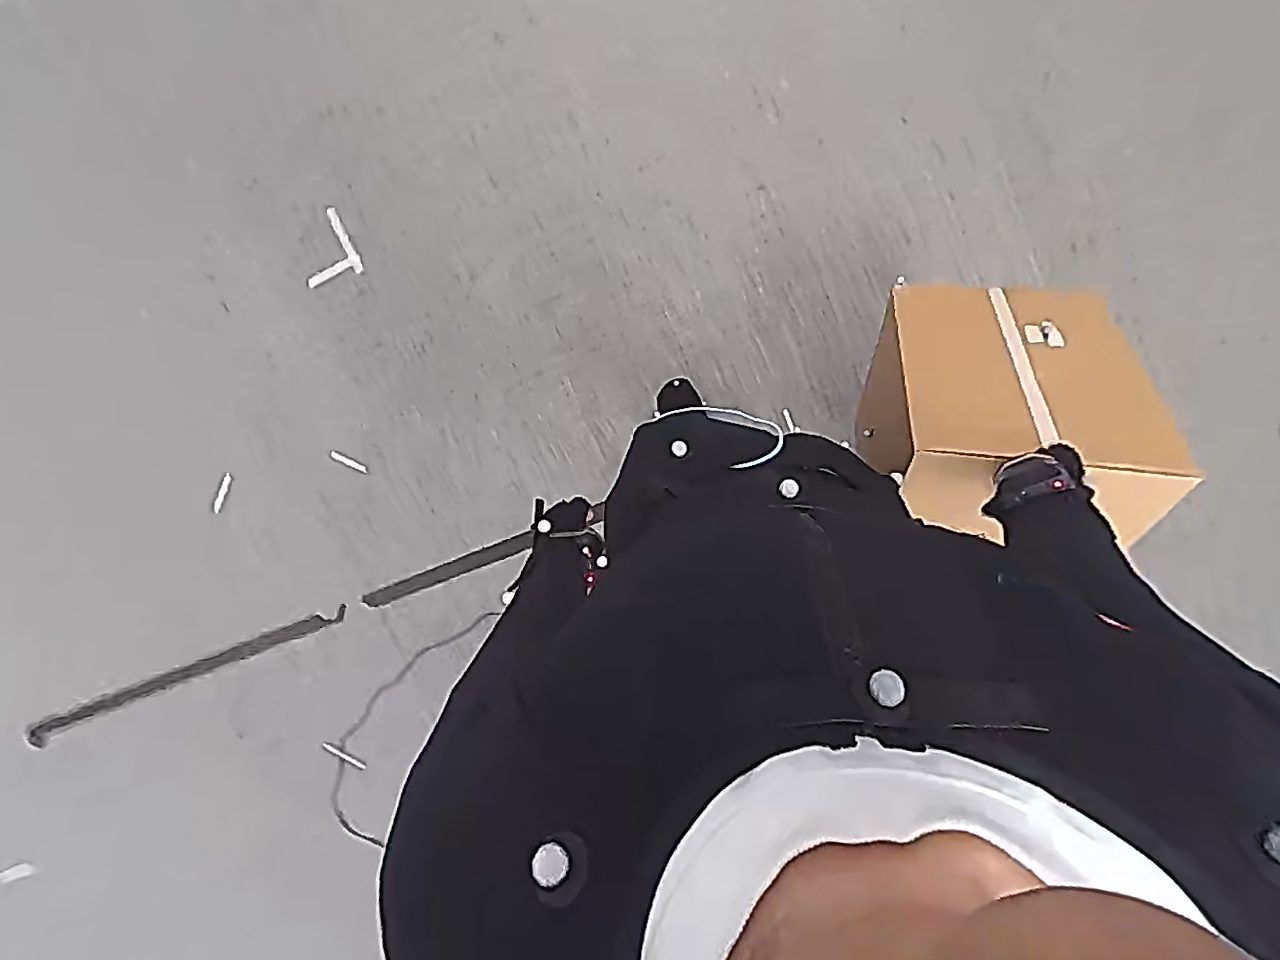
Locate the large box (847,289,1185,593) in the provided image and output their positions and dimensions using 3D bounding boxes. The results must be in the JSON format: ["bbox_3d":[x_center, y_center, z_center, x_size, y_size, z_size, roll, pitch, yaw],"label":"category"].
[{"bbox_3d":[0.547,-0.072,0.904,0.320,0.408,0.320,6,139,10],"label":"large box"}]
